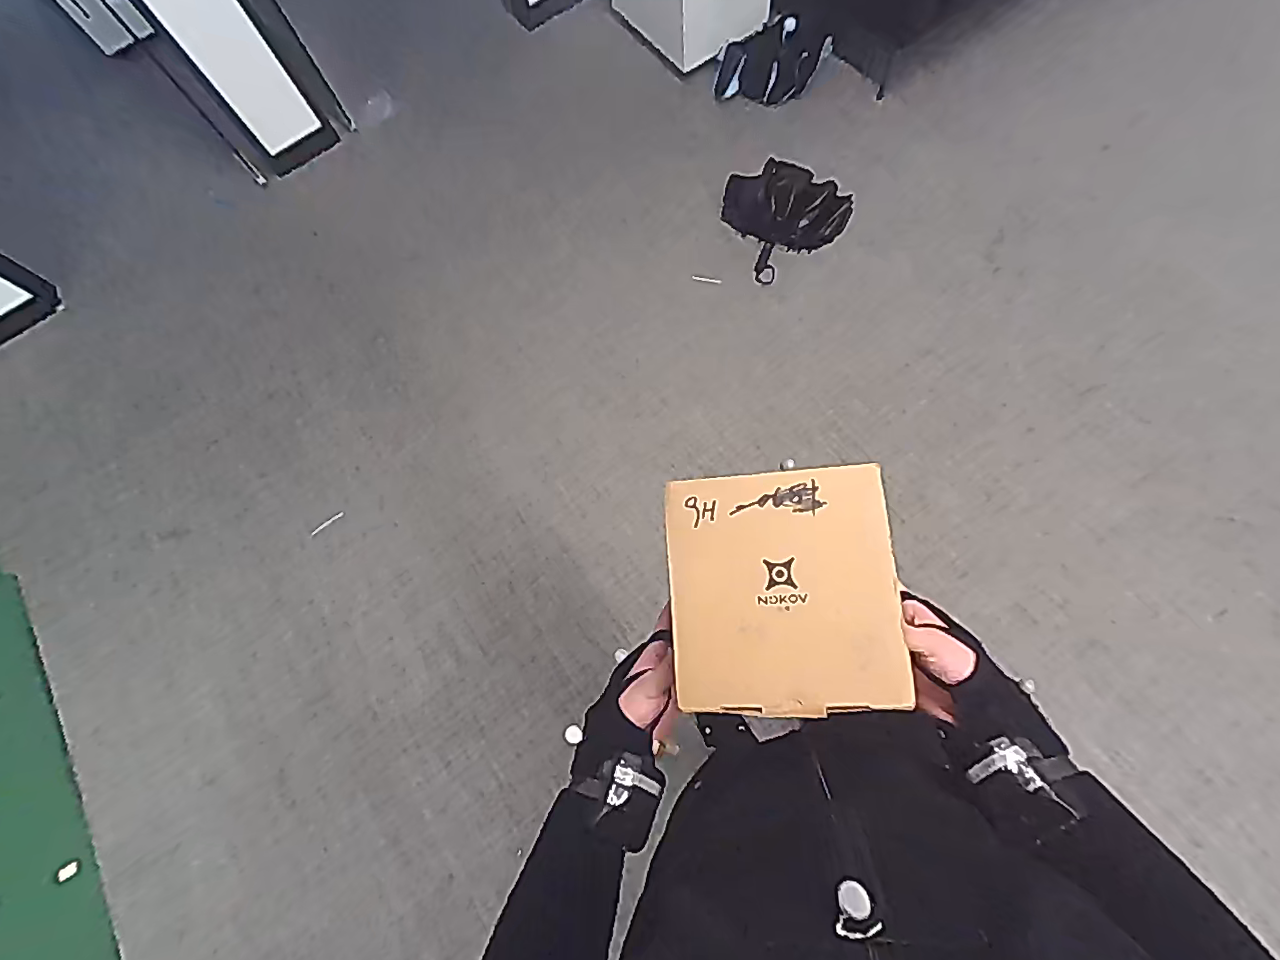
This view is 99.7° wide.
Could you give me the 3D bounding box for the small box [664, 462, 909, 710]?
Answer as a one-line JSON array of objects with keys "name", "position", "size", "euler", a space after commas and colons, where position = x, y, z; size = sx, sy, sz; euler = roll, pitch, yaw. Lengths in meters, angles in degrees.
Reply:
[{"name": "small box", "position": [0.115, 0.091, 0.476], "size": [0.168, 0.176, 0.179], "euler": [-5, 79, 8]}]
